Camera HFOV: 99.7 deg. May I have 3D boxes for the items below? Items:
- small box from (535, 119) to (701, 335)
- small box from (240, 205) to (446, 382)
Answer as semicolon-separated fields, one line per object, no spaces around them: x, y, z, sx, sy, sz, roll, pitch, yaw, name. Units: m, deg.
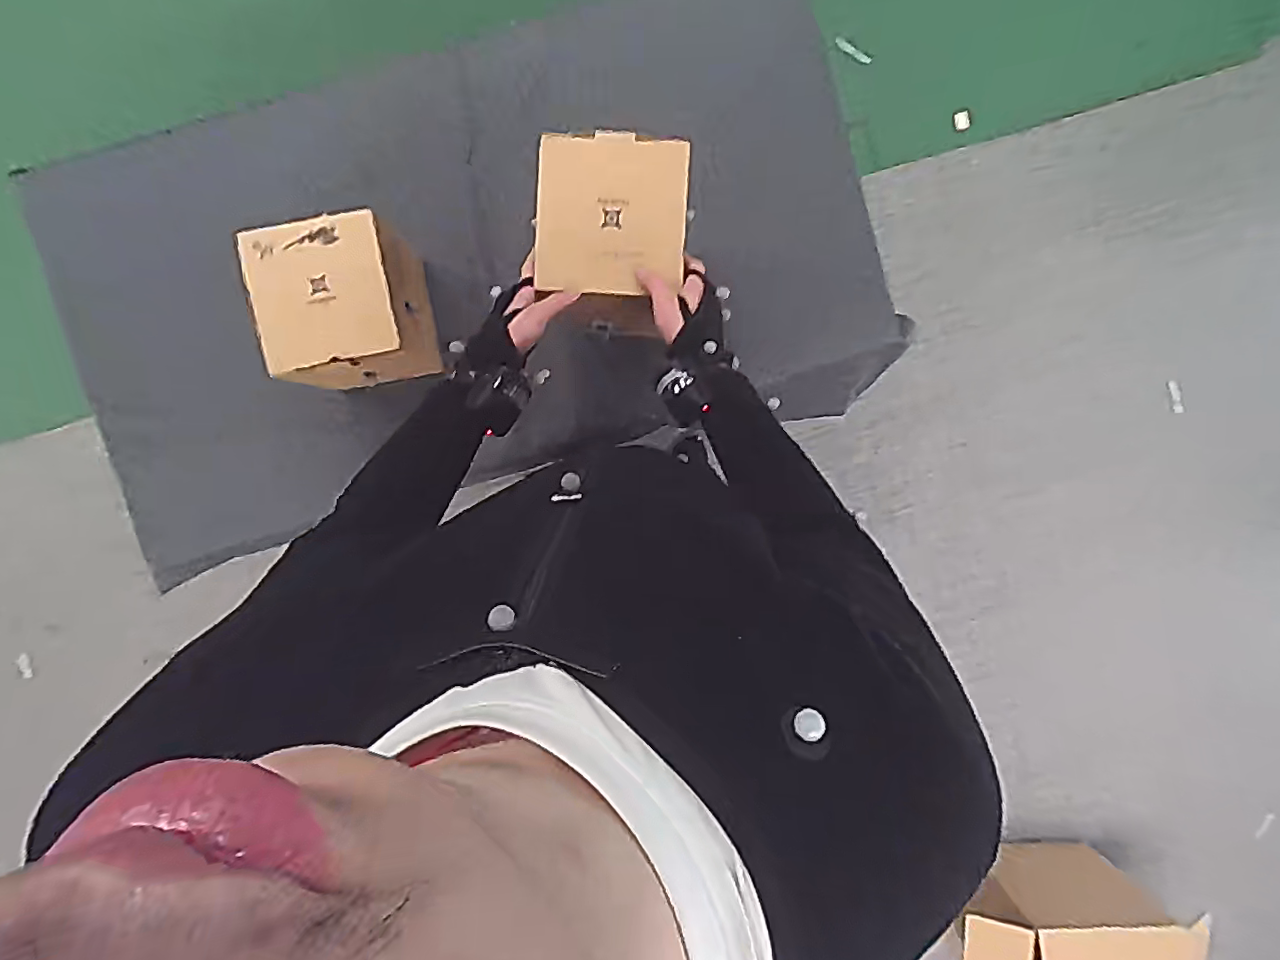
-0.023;-0.292;0.655;0.168;0.176;0.179;5;89;1;small box
-0.386;-0.236;0.737;0.168;0.176;0.179;-14;93;1;small box
